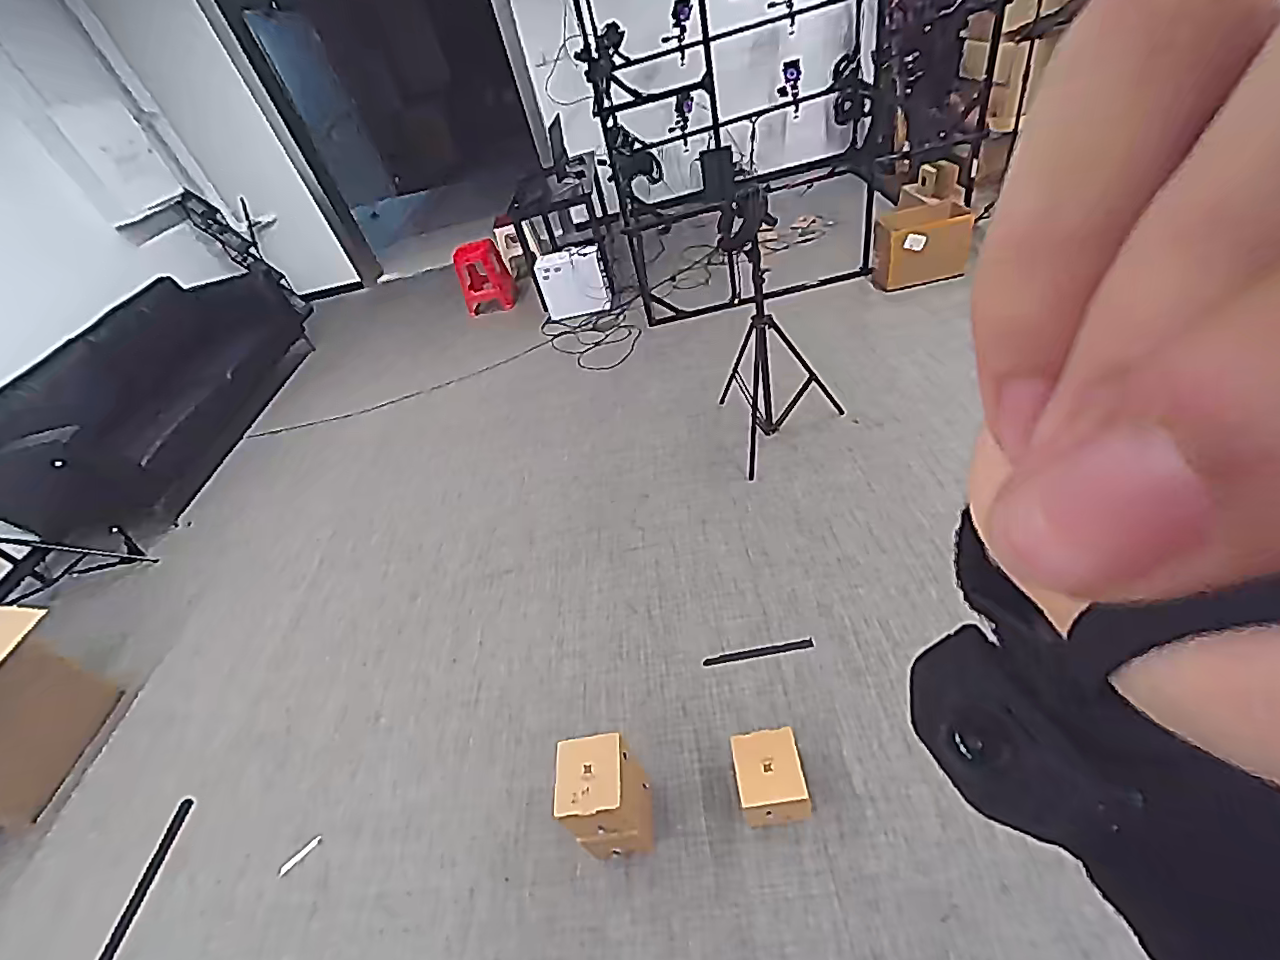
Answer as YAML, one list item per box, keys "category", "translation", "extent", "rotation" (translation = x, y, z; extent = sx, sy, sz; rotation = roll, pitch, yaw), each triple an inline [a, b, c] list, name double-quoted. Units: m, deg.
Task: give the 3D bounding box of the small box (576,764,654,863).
- category: "small box"
  translation: [-0.064, 0.889, 1.442]
  extent: [0.168, 0.176, 0.179]
  rotation: [-13, 41, 7]

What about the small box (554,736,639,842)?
- category: "small box"
  translation: [-0.103, 0.766, 1.340]
  extent: [0.168, 0.176, 0.179]
  rotation: [-13, 42, 7]

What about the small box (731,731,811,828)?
- category: "small box"
  translation: [0.342, 0.788, 1.413]
  extent: [0.168, 0.176, 0.179]
  rotation: [-12, 41, 6]
